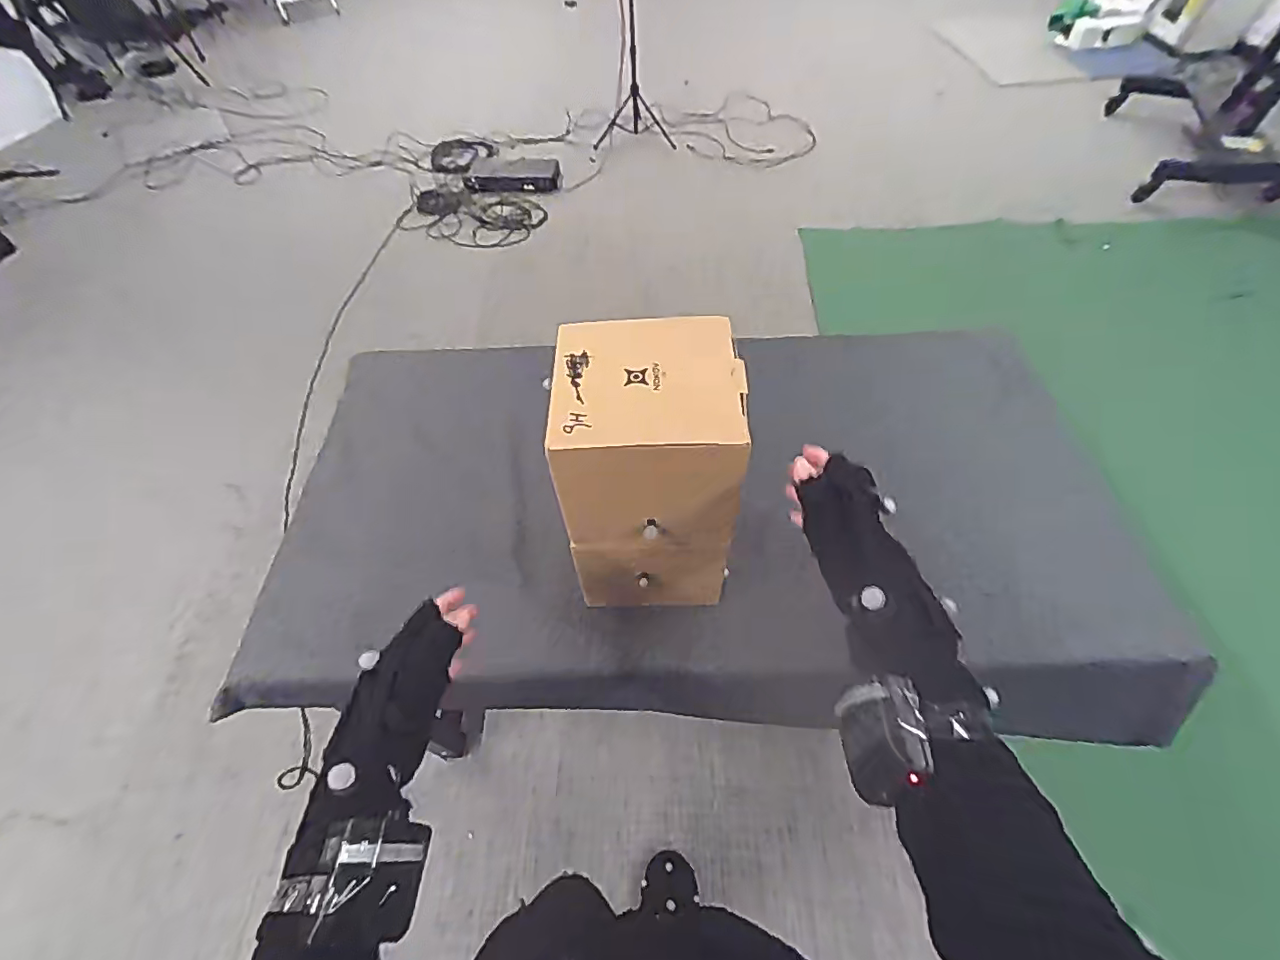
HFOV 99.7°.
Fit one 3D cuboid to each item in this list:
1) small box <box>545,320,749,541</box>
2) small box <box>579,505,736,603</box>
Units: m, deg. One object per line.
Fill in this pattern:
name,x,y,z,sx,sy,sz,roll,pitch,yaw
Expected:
small box,0.007,-0.046,0.565,0.179,0.176,0.168,-1,54,1
small box,0.016,0.050,0.699,0.179,0.176,0.168,-3,56,-1
